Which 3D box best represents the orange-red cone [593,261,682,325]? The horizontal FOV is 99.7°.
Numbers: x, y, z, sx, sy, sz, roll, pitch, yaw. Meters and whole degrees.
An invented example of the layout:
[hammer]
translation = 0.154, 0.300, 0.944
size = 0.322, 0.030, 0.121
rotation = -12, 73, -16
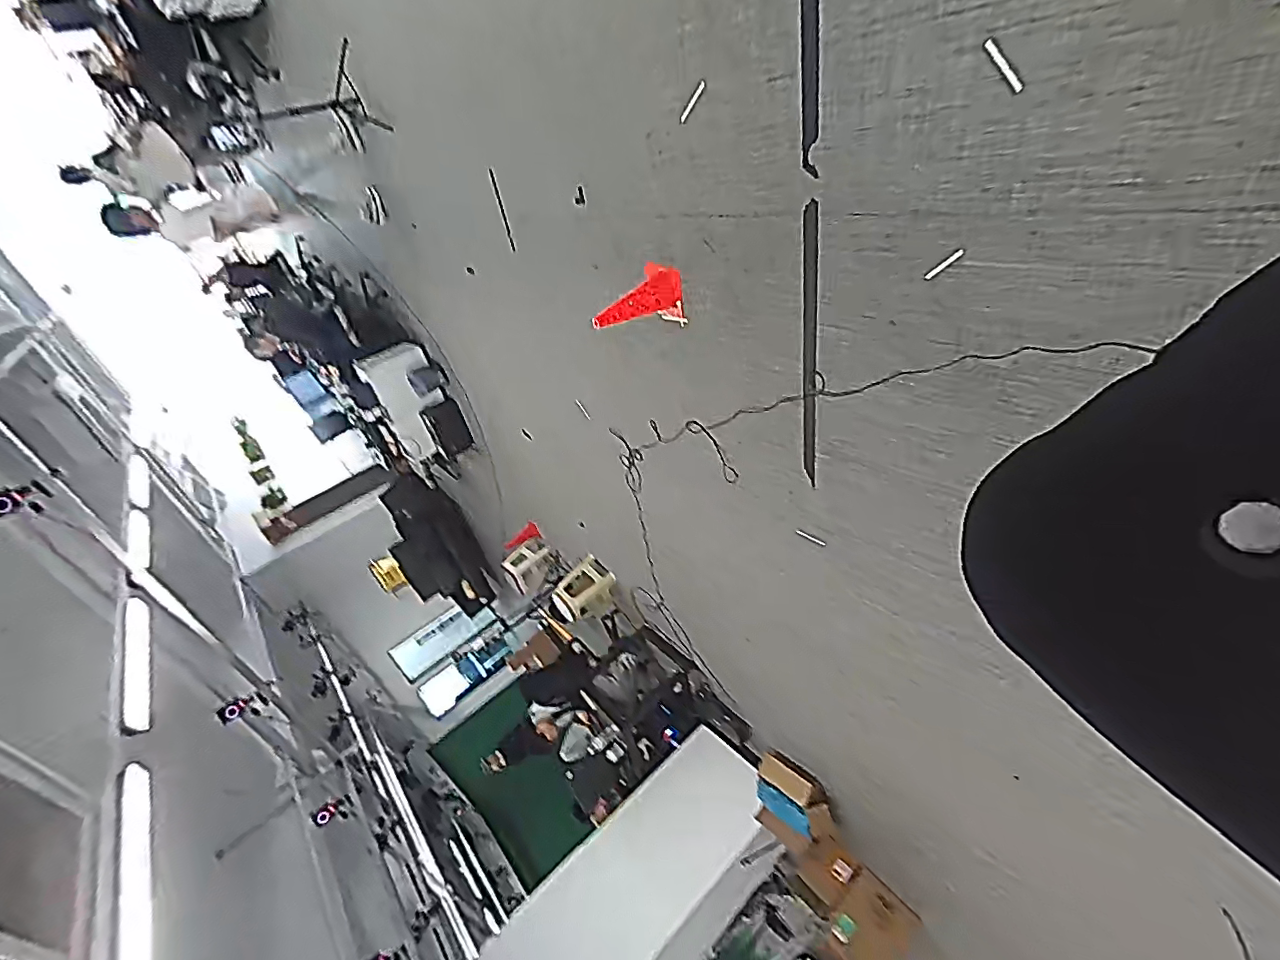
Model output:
[orange-red cone]
translation = -0.032, -0.681, 2.084
size = 0.198, 0.360, 0.199
rotation = 33, 145, 37
